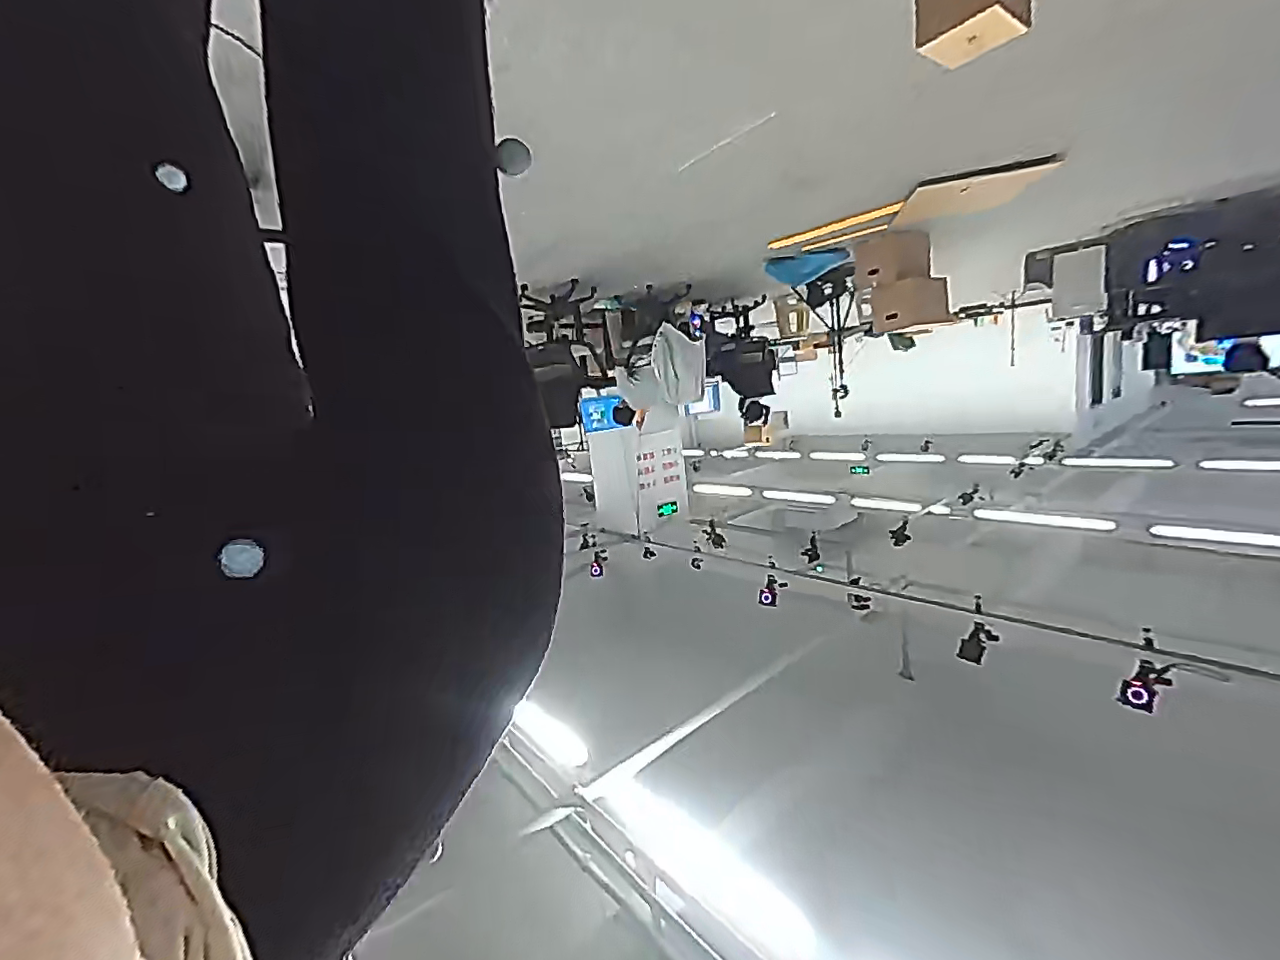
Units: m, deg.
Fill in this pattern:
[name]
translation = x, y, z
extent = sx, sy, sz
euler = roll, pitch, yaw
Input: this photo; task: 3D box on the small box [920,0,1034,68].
[small box]
translation = 0.724, -1.045, 1.166
extent = 0.179, 0.176, 0.168
euler = -13, -168, -35
